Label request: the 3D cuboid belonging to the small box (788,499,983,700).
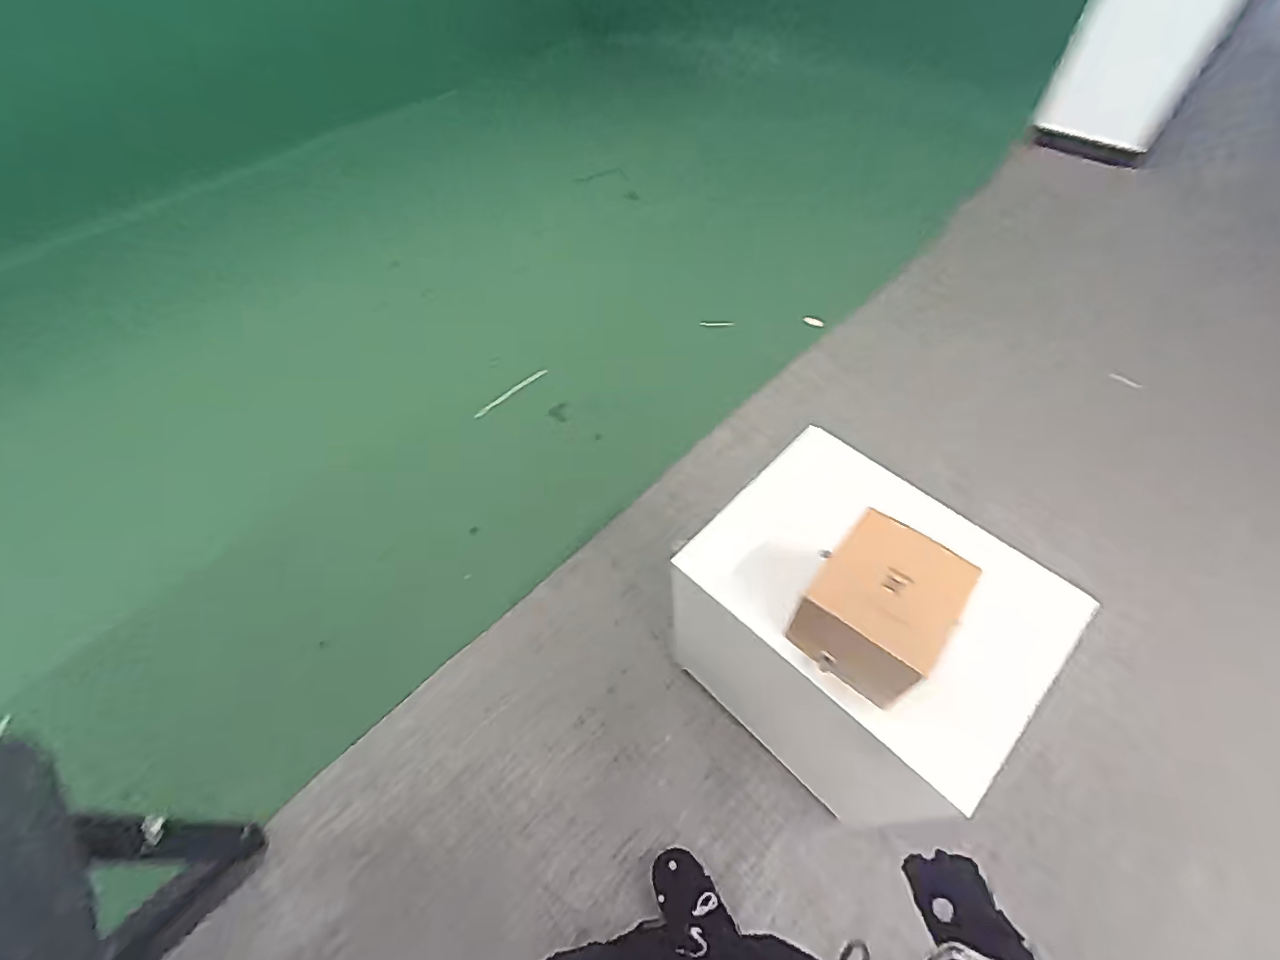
[{"bbox_3d":[0.321,0.166,0.740,0.168,0.176,0.179,32,65,25],"label":"small box"}]
